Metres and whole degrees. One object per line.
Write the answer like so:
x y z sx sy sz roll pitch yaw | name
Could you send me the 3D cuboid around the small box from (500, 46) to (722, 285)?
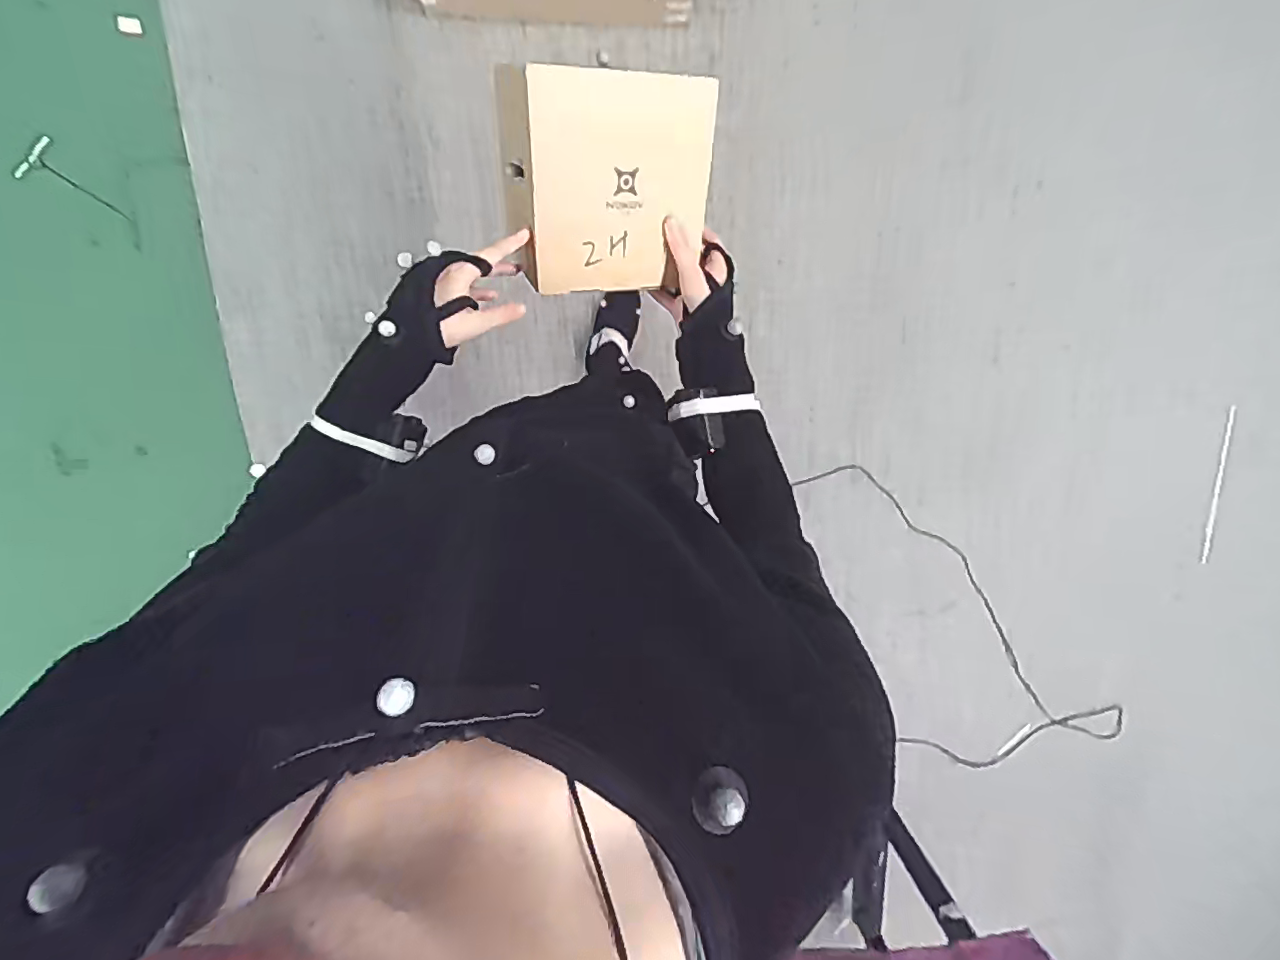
-0.040 -0.306 0.533 0.168 0.176 0.179 -8 128 -18 | small box
